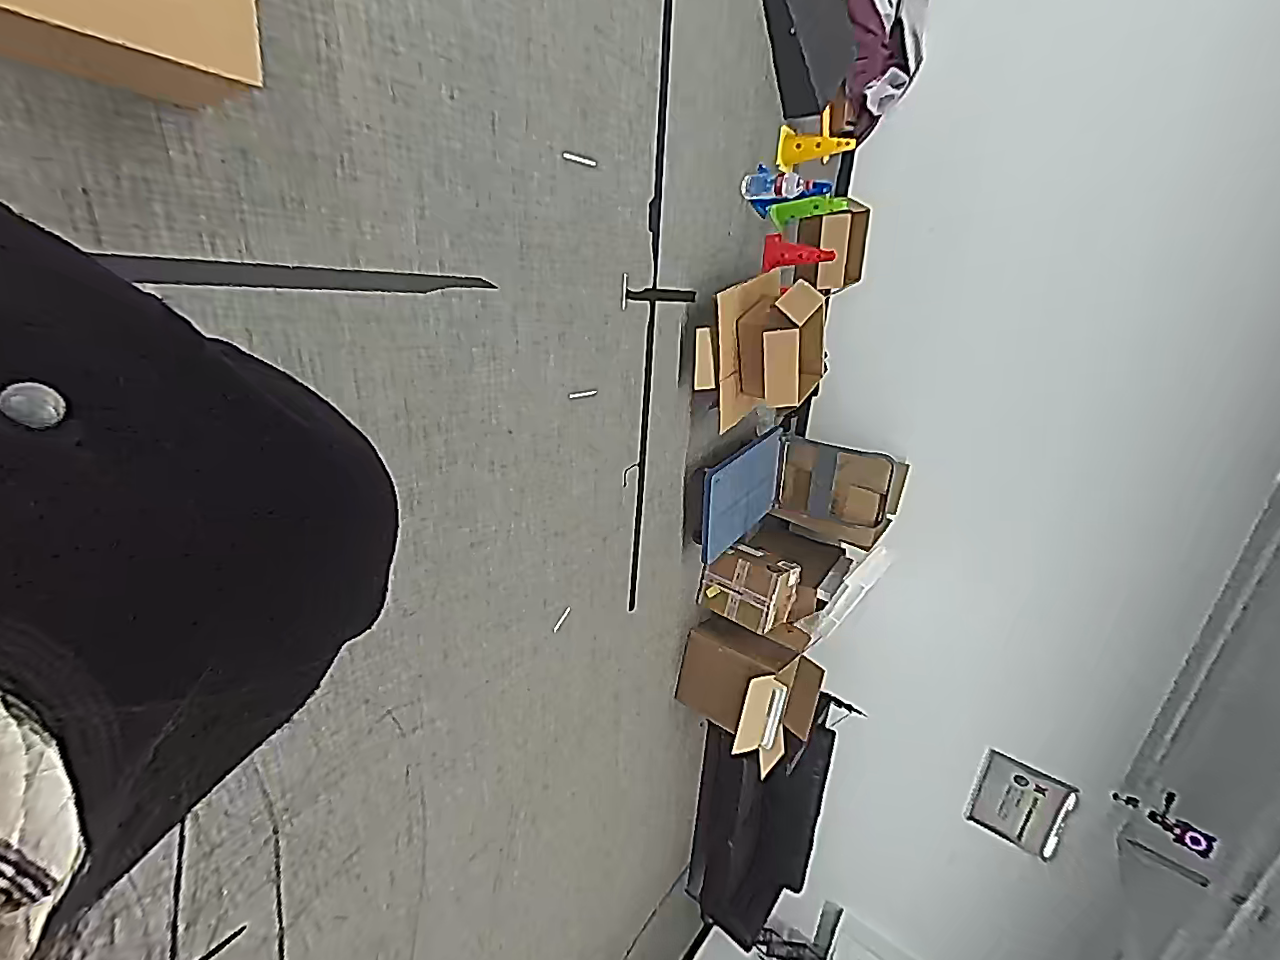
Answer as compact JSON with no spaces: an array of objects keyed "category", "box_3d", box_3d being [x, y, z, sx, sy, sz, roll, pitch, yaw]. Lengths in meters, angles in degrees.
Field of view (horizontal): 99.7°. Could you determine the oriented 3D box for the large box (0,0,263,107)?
[{"category":"large box","box_3d":[-0.851,-0.792,0.777,0.408,0.320,0.320,-19,121,-51]}]
